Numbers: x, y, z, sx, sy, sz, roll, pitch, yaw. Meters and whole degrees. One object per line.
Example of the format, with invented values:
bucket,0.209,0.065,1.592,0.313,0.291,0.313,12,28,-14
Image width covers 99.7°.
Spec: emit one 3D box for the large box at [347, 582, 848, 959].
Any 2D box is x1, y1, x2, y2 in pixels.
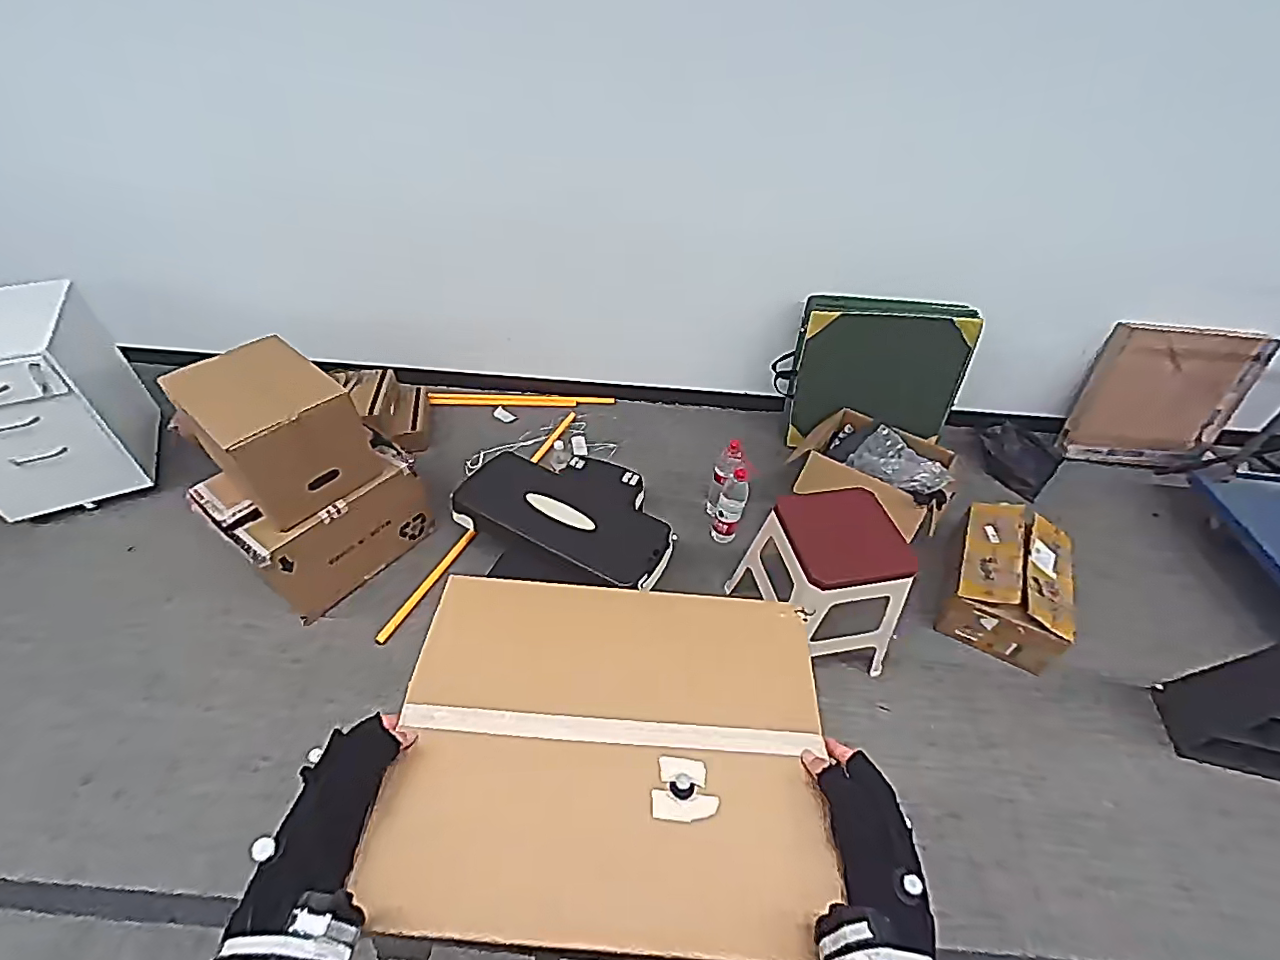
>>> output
large box,-0.035,0.345,0.630,0.408,0.320,0.320,5,47,0
